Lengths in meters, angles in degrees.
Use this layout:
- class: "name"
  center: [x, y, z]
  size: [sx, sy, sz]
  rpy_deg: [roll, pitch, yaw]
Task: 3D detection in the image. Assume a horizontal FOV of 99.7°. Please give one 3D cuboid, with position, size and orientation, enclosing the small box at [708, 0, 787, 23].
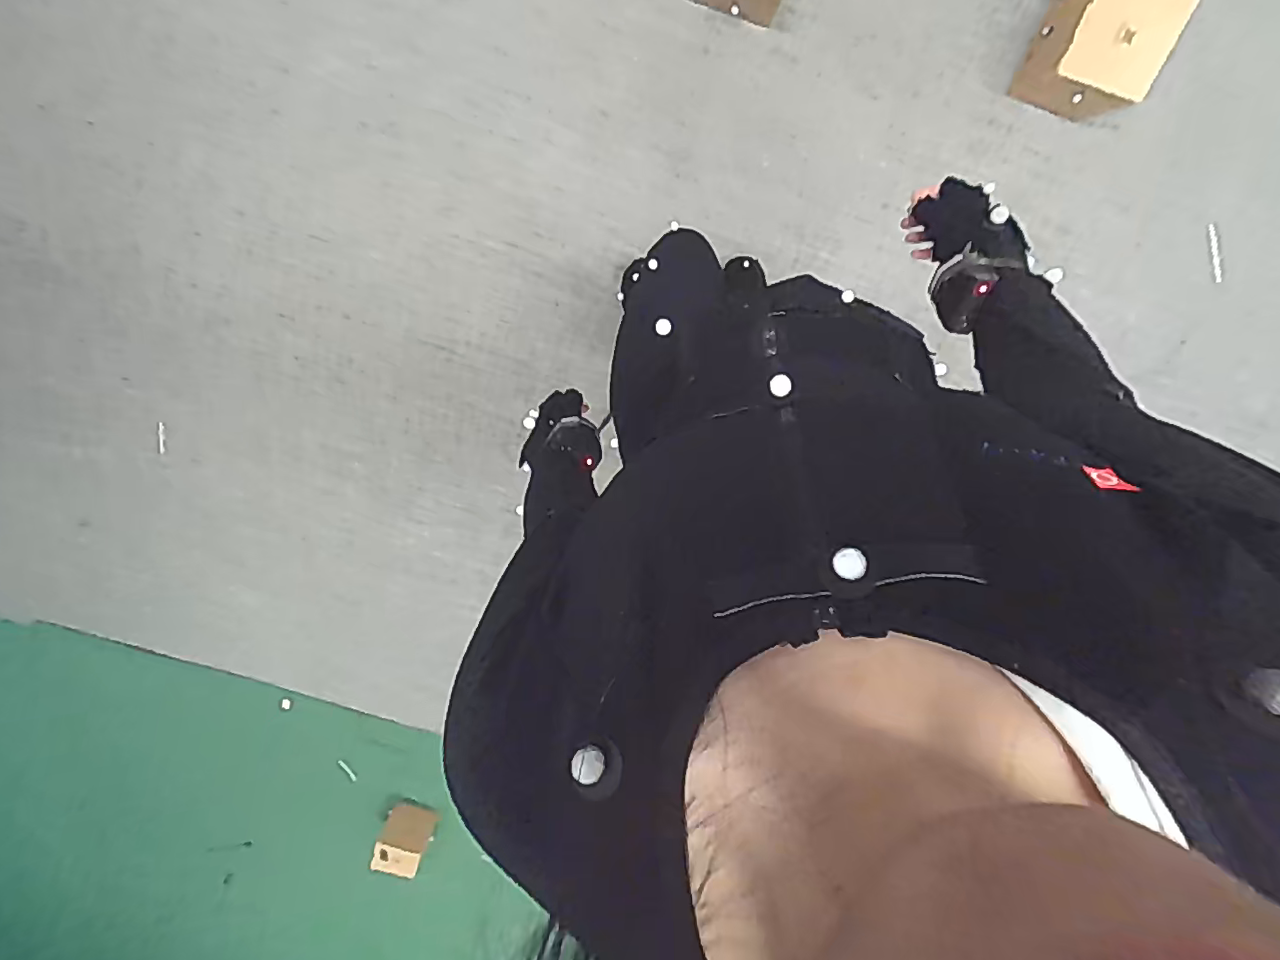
- class: "small box"
  center: [0.222, -1.005, 1.002]
  size: [0.168, 0.176, 0.179]
  rpy_deg: [17, 114, -3]

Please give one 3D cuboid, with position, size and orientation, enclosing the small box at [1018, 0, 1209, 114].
- class: "small box"
  center: [0.882, -0.822, 1.028]
  size: [0.179, 0.176, 0.168]
  rpy_deg: [17, 114, -2]

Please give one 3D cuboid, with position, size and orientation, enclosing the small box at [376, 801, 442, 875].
- class: "small box"
  center: [-0.914, 1.417, 2.147]
  size: [0.179, 0.176, 0.168]
  rpy_deg: [19, 114, -5]
